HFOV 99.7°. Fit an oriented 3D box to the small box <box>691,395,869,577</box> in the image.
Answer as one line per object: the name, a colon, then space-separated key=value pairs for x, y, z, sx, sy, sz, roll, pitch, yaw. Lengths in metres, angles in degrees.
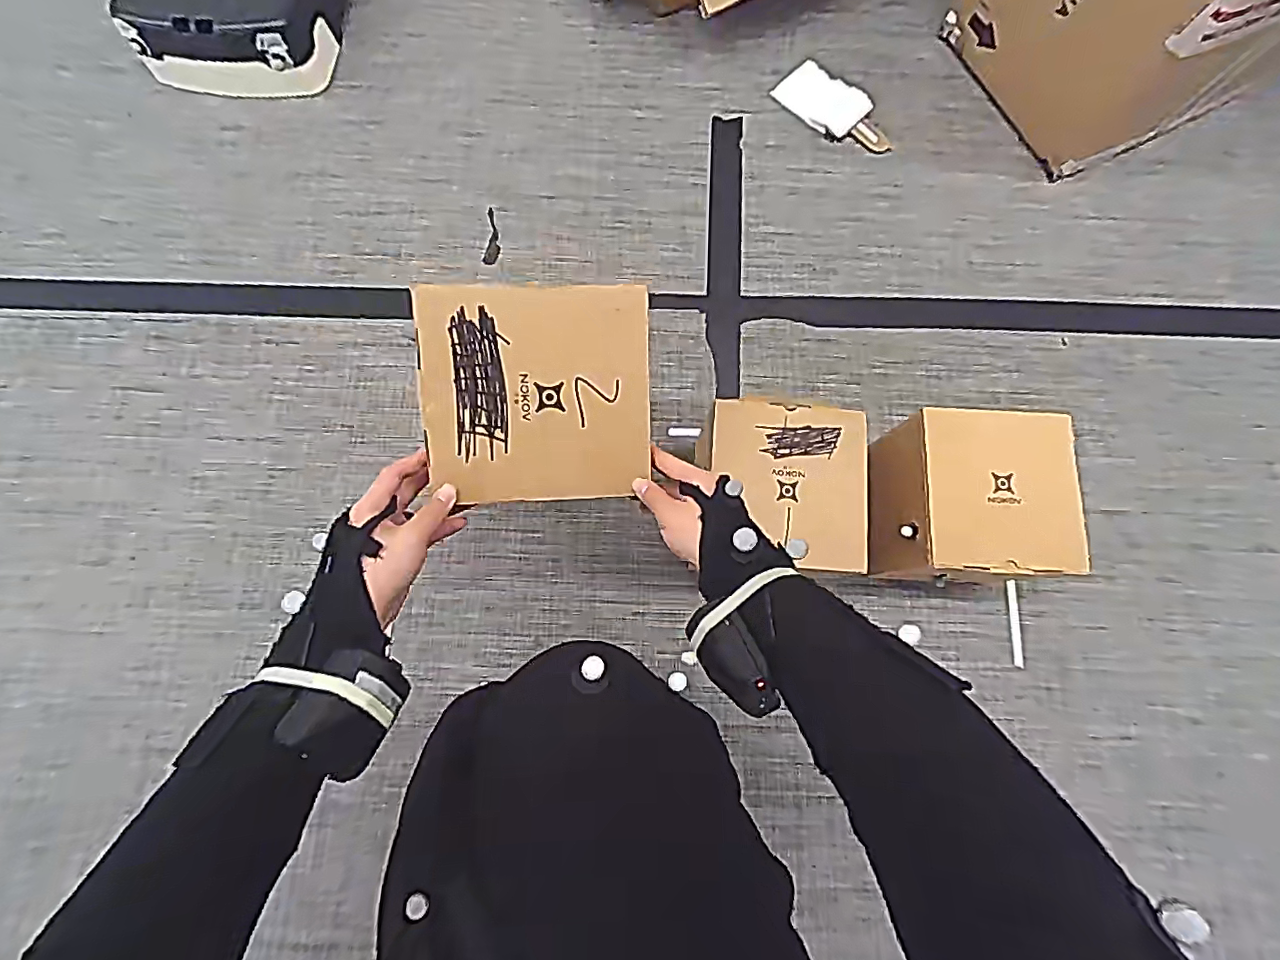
small box: x=0.153 y=0.017 z=0.637 sx=0.168 sy=0.176 sz=0.179 roll=4 pitch=78 yaw=0

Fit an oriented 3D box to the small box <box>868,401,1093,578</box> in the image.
small box: x=0.380 y=0.021 z=0.644 sx=0.168 sy=0.176 sz=0.179 roll=3 pitch=77 yaw=-1
